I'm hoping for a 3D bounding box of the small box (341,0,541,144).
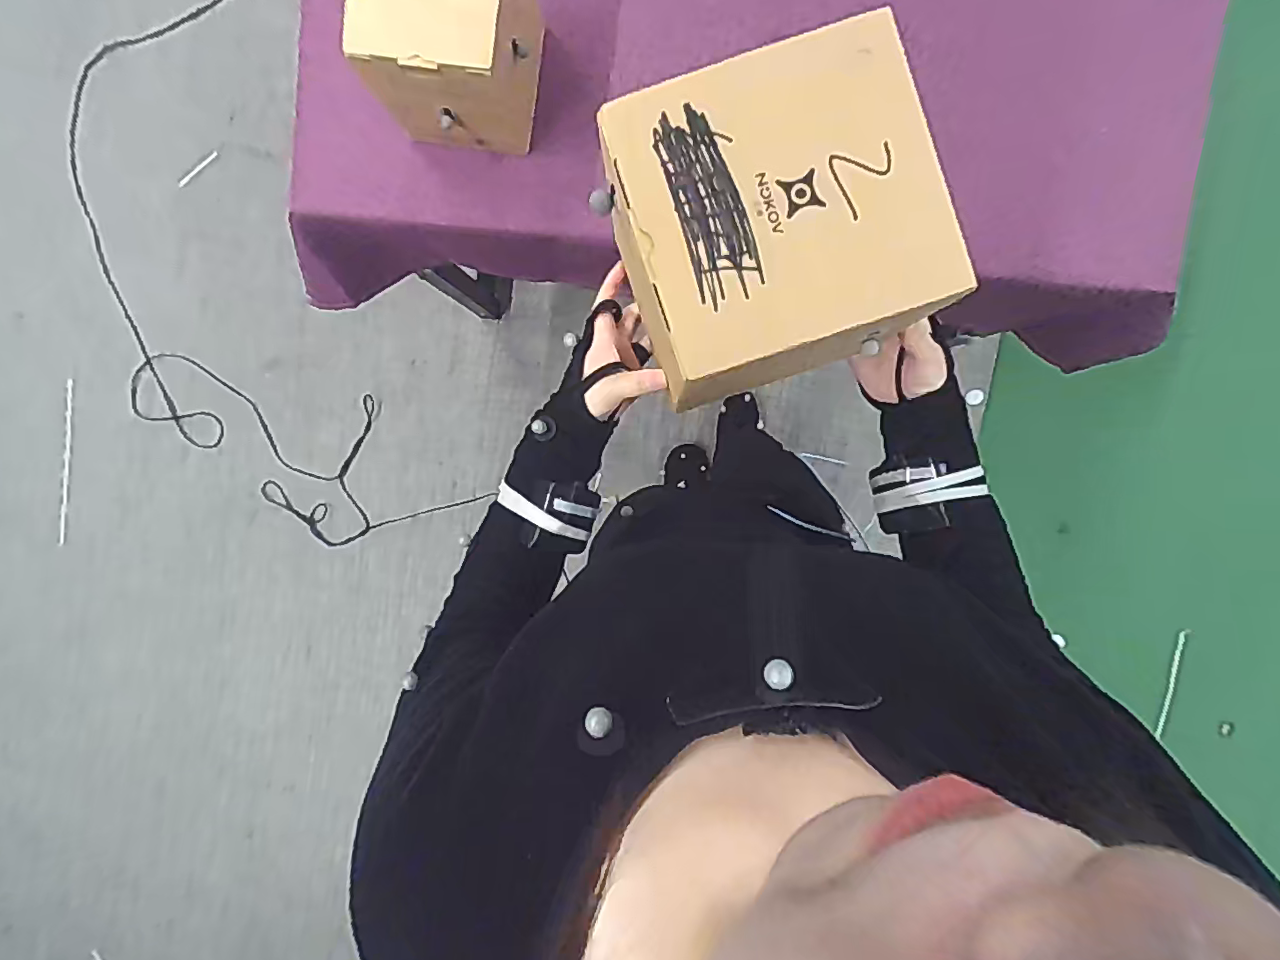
[{"bbox_3d":[-0.222,-0.537,0.642,0.168,0.176,0.179,9,95,0],"label":"small box"}]
